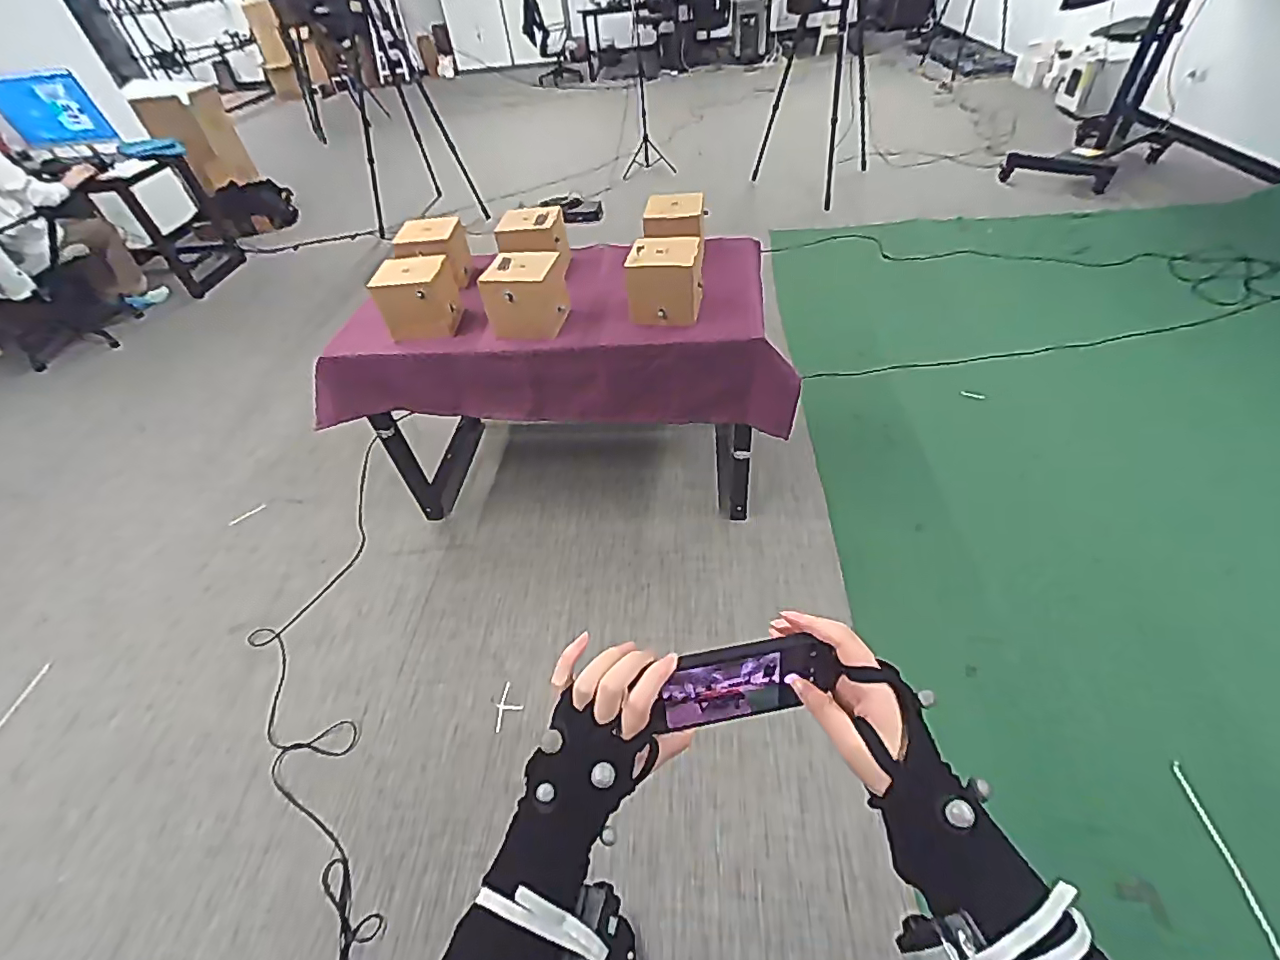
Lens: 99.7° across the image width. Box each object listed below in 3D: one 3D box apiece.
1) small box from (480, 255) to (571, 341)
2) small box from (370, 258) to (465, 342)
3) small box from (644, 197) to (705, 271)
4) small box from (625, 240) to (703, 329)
[{"bbox_3d":[-0.299,-0.490,1.456,0.179,0.176,0.168,4,47,10],"label":"small box"},{"bbox_3d":[-0.609,-0.497,1.504,0.179,0.176,0.168,-4,45,2],"label":"small box"},{"bbox_3d":[0.110,-0.743,1.649,0.168,0.176,0.179,2,47,10],"label":"small box"},{"bbox_3d":[0.070,-0.517,1.436,0.179,0.176,0.168,5,46,11],"label":"small box"}]
